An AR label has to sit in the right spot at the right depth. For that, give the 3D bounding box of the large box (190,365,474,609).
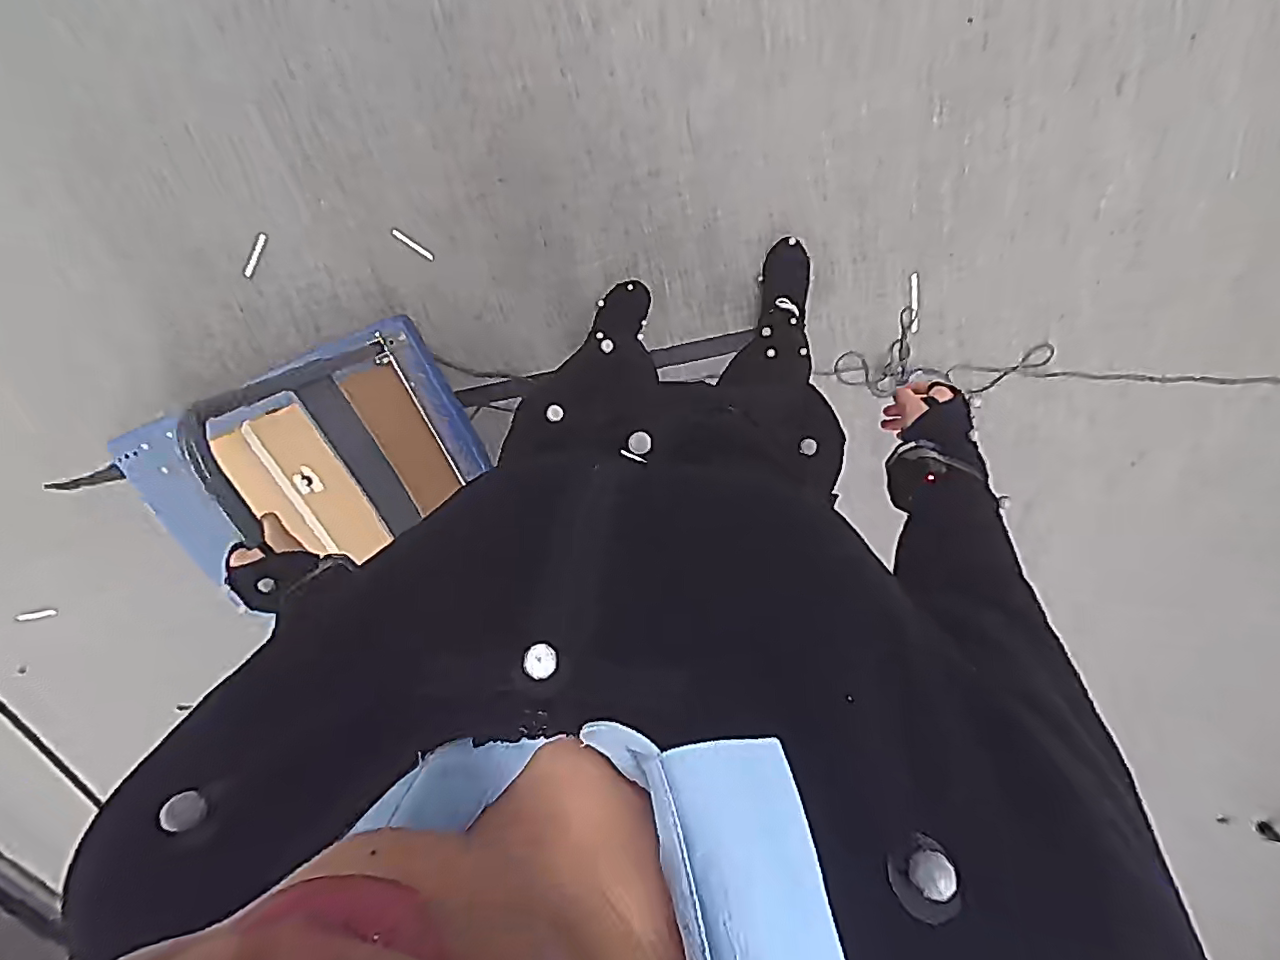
[{"bbox_3d":[-0.640,0.006,1.209,0.320,0.320,0.408,-19,111,9],"label":"large box"}]
